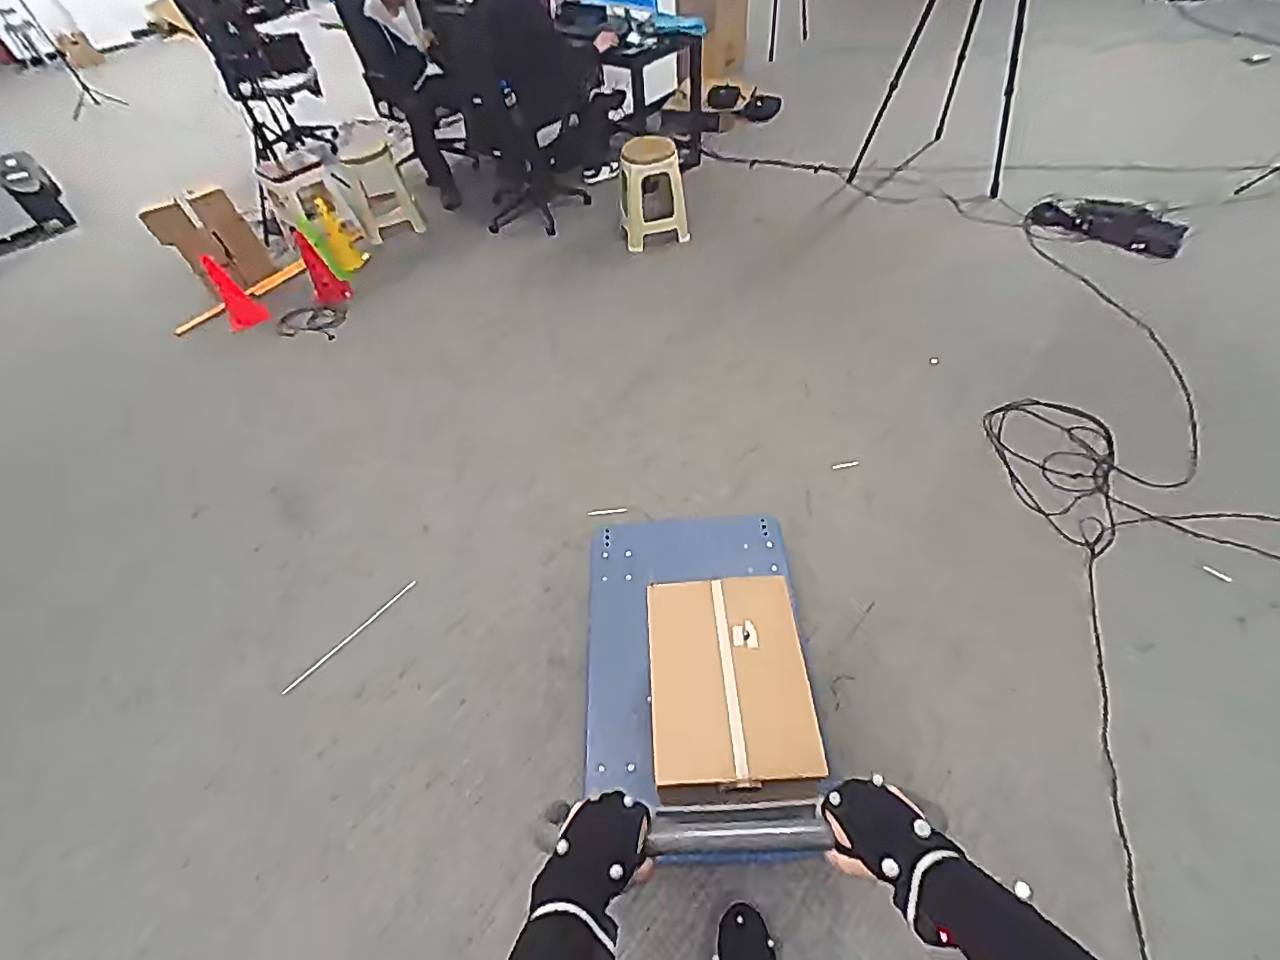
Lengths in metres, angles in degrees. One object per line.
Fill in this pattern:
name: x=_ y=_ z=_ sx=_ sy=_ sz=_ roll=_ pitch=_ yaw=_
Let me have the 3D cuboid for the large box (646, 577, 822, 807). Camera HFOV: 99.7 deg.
large box: x=0.188 y=0.483 z=1.231 sx=0.320 sy=0.320 sz=0.408 roll=-4 pitch=51 yaw=2
